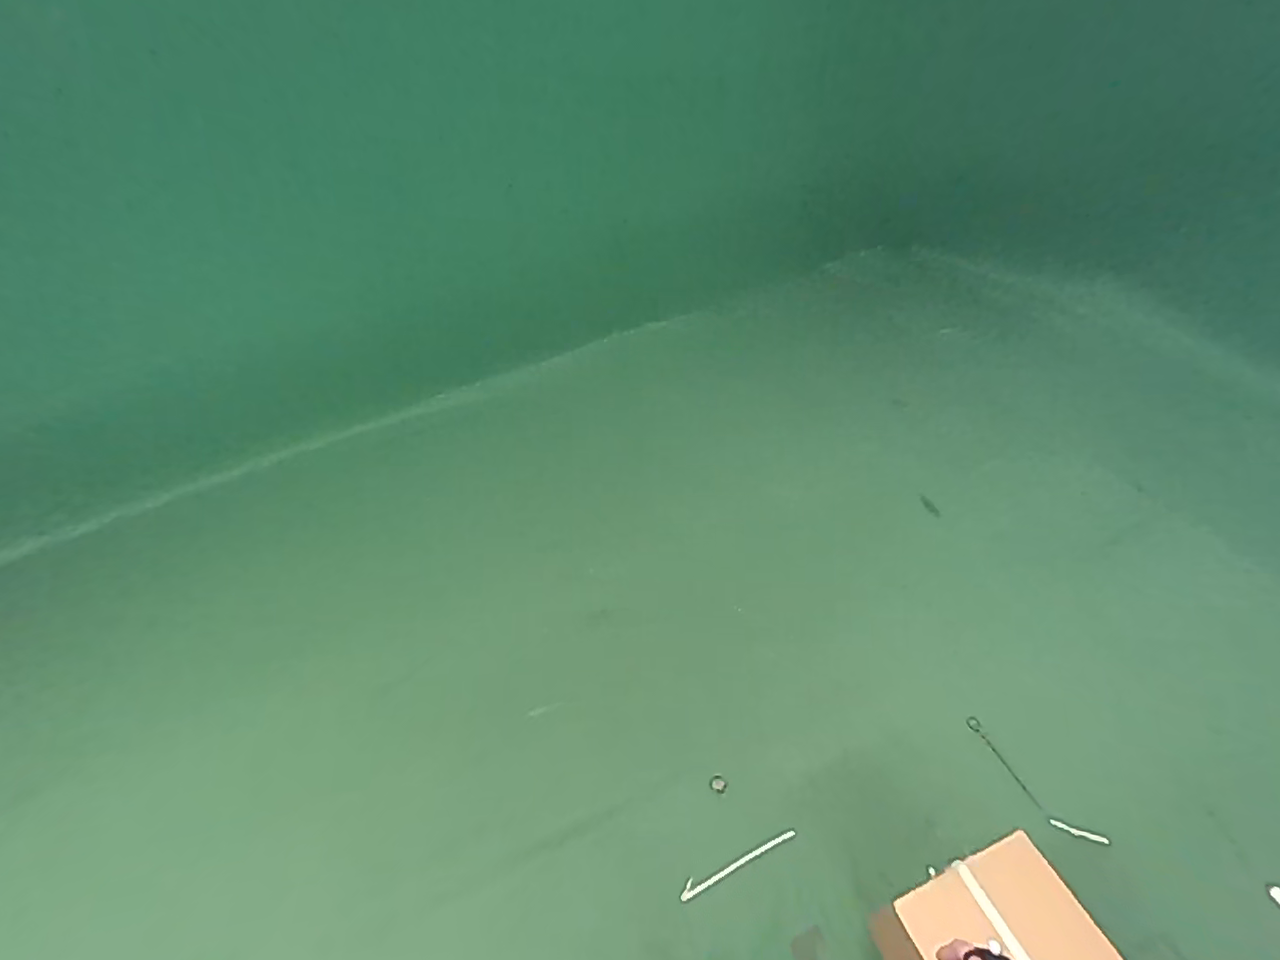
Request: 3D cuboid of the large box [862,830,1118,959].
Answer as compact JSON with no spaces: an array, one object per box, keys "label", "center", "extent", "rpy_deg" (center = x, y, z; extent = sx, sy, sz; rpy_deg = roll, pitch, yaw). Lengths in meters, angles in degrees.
[{"label":"large box","center":[0.706,0.982,1.038],"extent":[0.320,0.320,0.408],"rpy_deg":[-21,48,-10]}]
